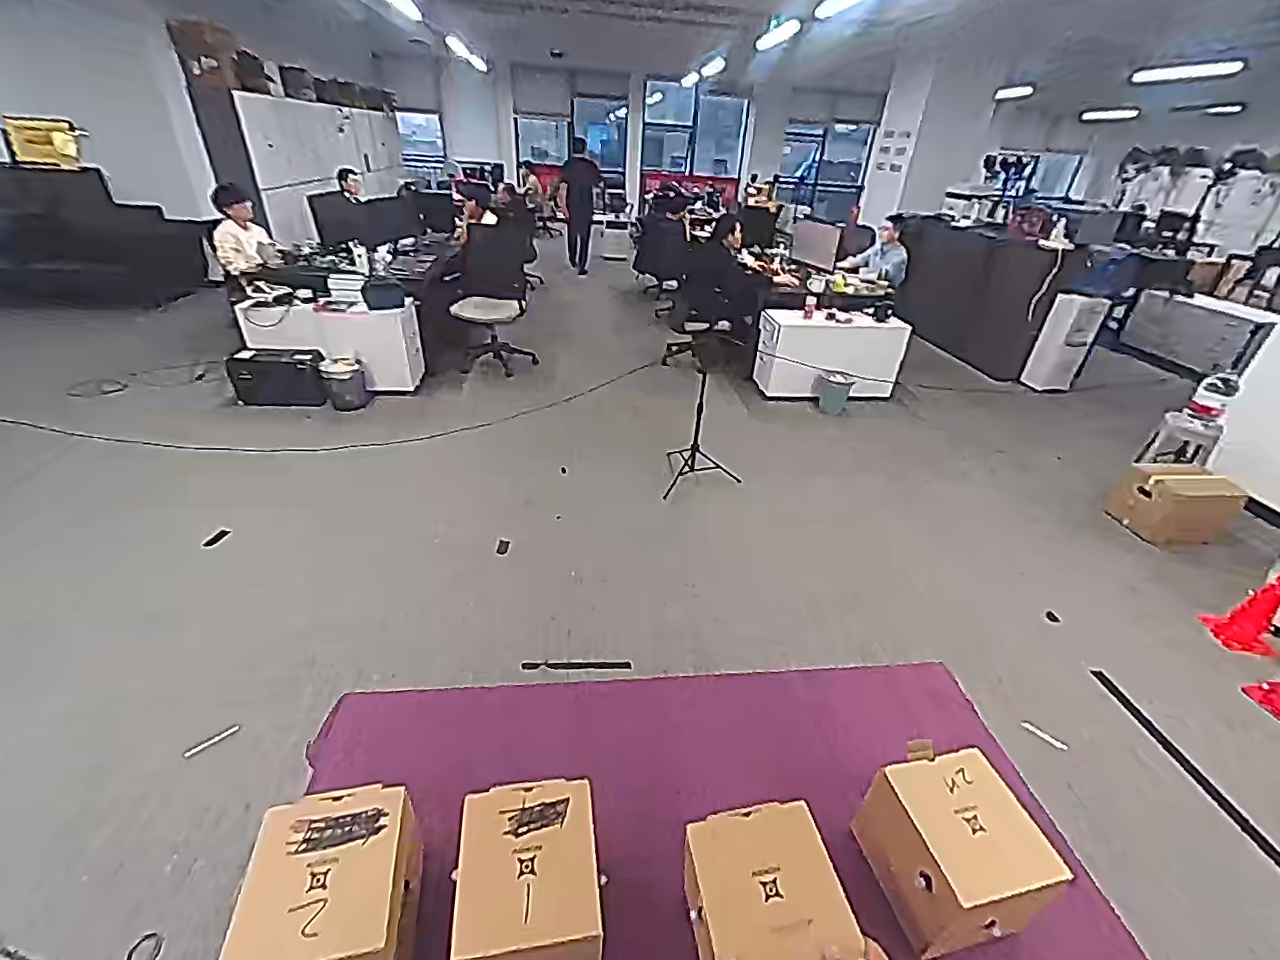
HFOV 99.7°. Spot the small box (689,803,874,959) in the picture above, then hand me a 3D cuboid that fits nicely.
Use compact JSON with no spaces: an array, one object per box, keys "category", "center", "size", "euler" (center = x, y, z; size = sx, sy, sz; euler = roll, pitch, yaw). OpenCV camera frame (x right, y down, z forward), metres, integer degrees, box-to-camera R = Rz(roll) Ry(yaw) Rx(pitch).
[{"category":"small box","center":[0.157,0.545,0.667],"size":[0.168,0.176,0.179],"euler":[-7,29,-7]}]

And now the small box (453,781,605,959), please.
[{"category":"small box","center":[-0.137,0.527,0.696],"size":[0.168,0.176,0.179],"euler":[-3,34,-10]}]

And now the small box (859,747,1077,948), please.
[{"category":"small box","center":[0.441,0.516,0.761],"size":[0.168,0.176,0.179],"euler":[-4,33,-12]}]
